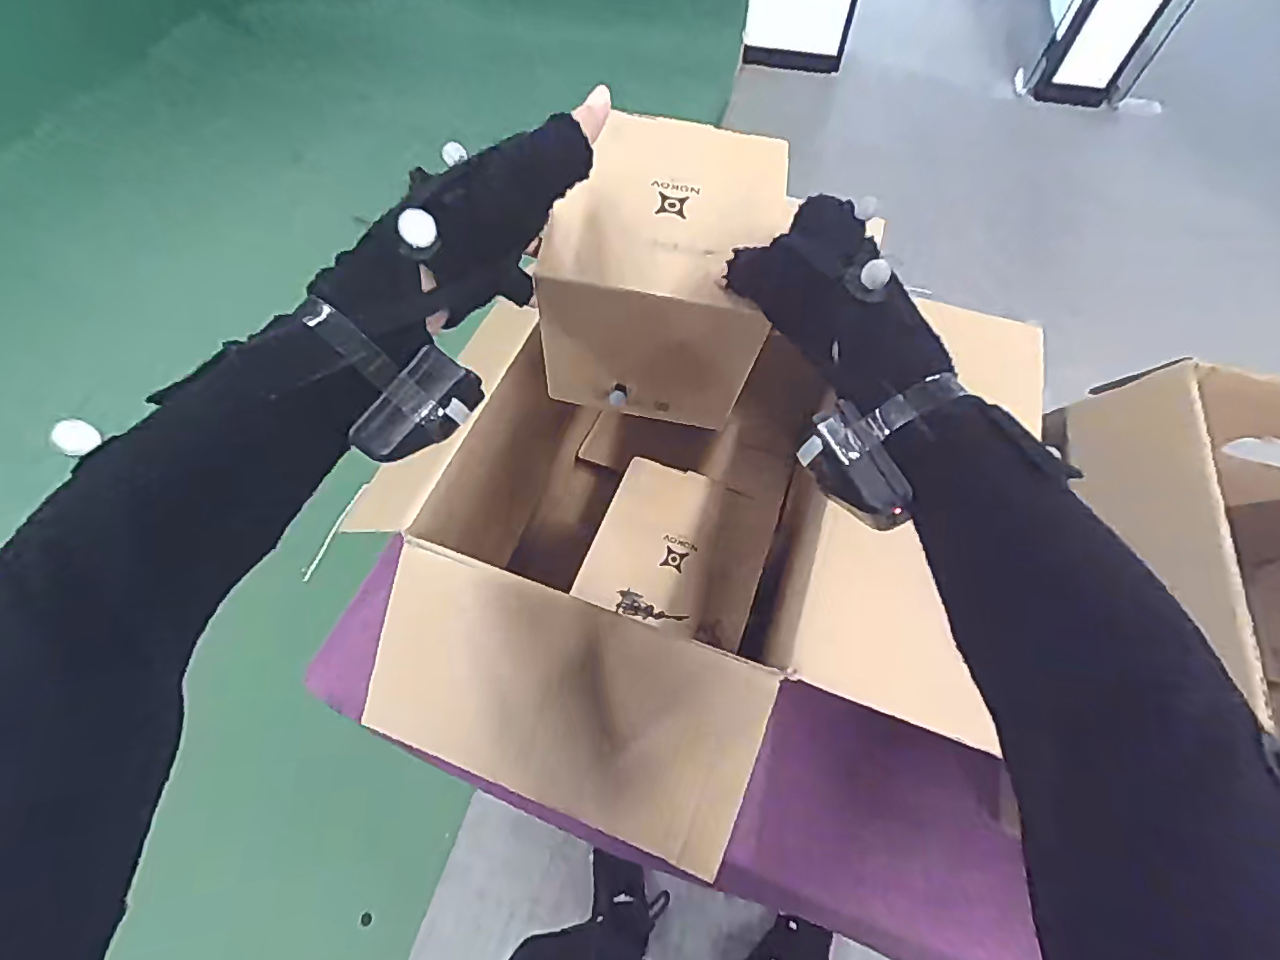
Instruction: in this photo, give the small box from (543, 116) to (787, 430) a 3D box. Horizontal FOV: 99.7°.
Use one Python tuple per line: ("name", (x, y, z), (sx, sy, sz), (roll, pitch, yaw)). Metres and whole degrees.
("small box", (0.019, -0.169, 0.475), (0.168, 0.176, 0.179), (10, 67, 0))
